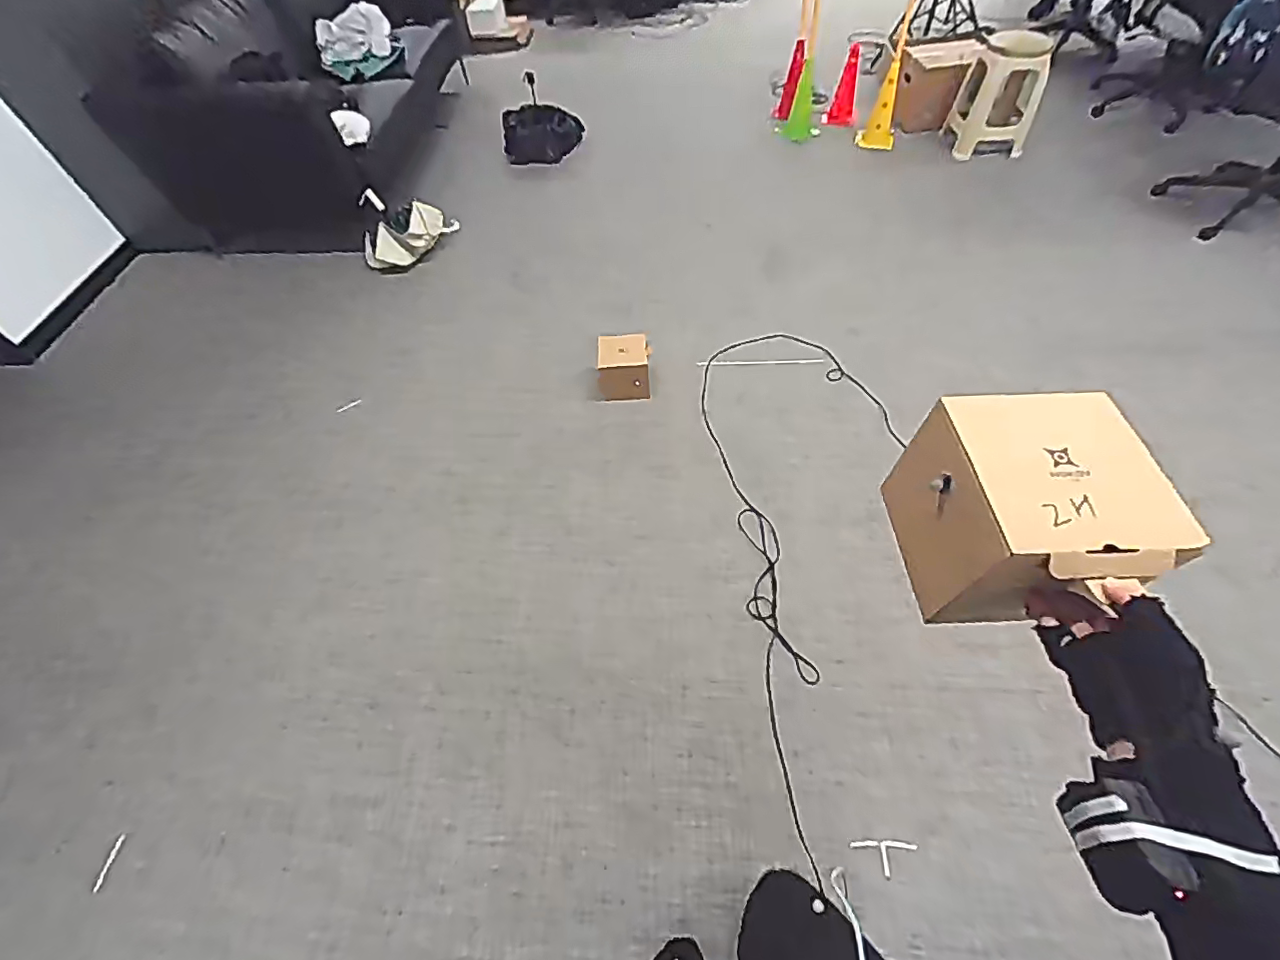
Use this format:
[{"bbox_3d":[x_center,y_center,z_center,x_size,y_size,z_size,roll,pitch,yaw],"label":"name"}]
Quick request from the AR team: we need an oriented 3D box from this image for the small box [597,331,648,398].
[{"bbox_3d":[-0.061,-0.415,1.954,0.179,0.176,0.168,-4,54,2],"label":"small box"}]

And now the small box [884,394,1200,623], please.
[{"bbox_3d":[0.377,0.033,0.554,0.168,0.176,0.179,-2,57,0],"label":"small box"}]
